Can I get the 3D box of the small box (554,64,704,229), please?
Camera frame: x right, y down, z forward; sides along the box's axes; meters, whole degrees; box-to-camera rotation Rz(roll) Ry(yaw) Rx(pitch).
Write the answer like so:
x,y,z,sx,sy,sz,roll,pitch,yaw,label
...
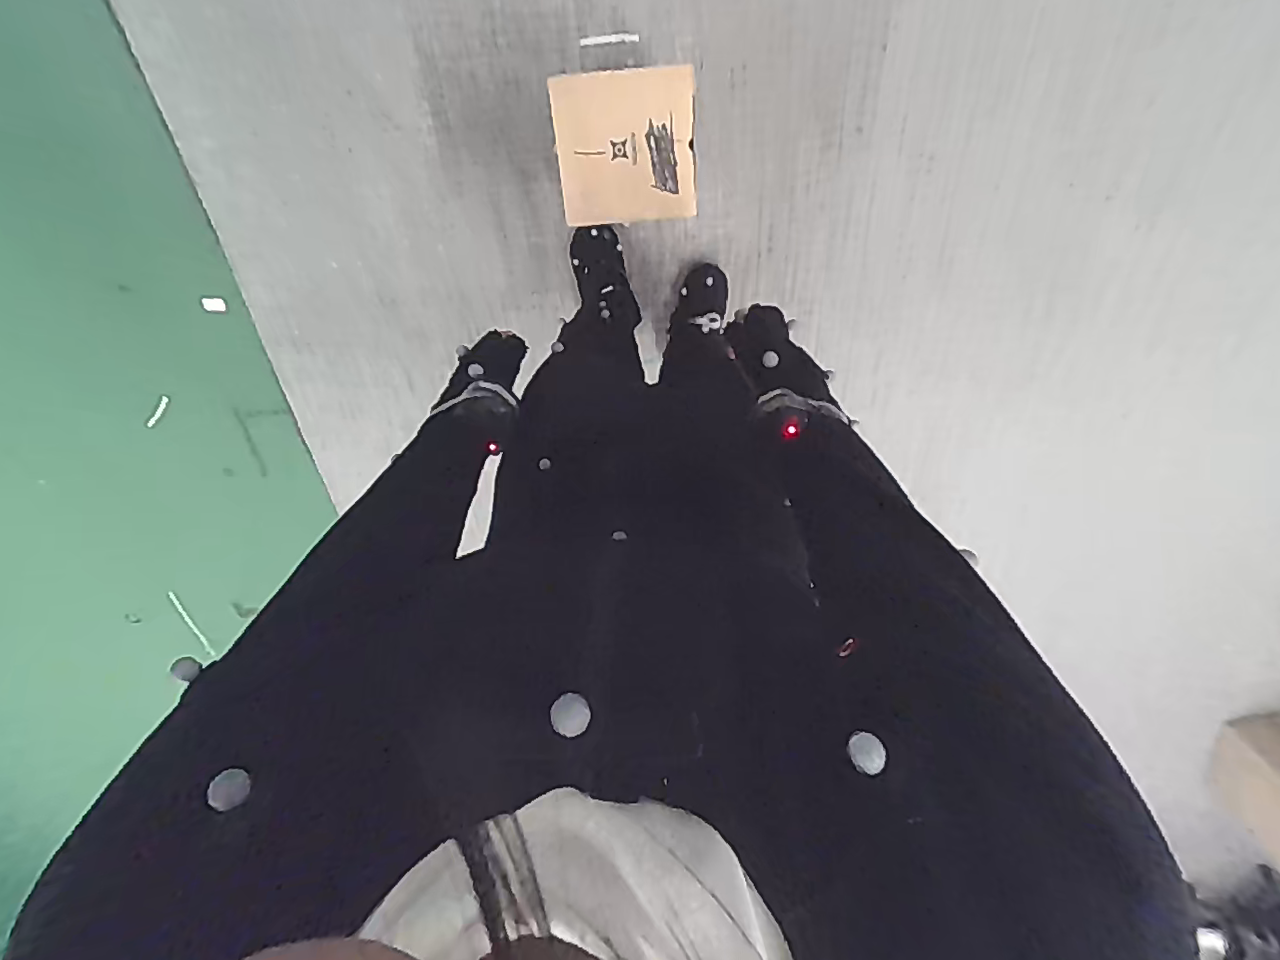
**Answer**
x,y,z,sx,sy,sz,roll,pitch,yaw,label
-0.013,-0.461,0.750,0.179,0.176,0.168,-7,124,3,small box
